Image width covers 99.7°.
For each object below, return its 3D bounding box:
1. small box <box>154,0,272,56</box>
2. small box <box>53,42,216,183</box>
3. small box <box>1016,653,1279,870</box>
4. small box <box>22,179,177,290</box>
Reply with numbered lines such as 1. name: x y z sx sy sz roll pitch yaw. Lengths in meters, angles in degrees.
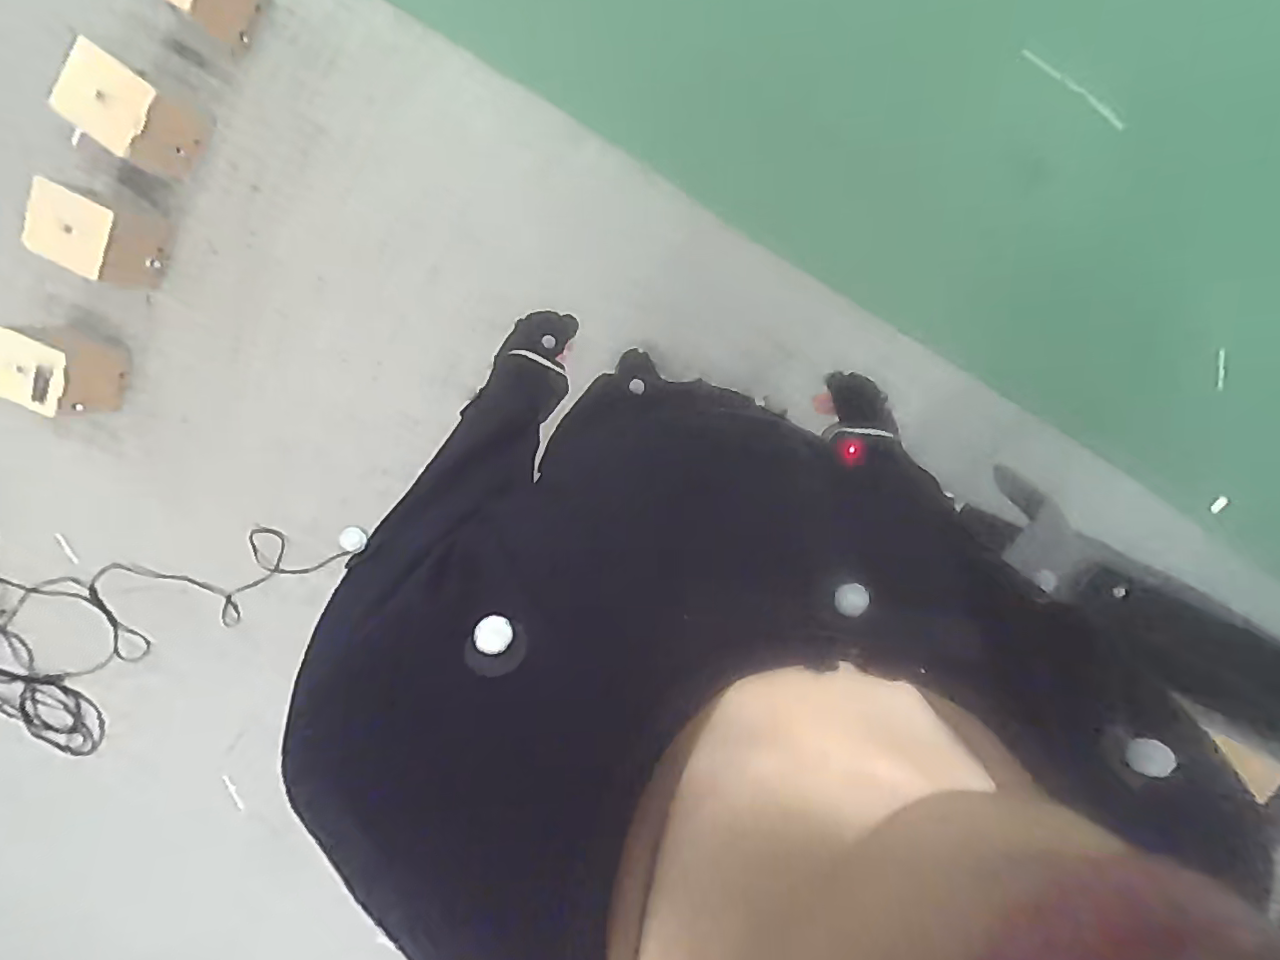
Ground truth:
1. small box: -0.948 -1.070 1.164 0.179 0.176 0.168 31 100 -6
2. small box: -1.126 -0.810 1.219 0.179 0.176 0.168 36 99 -8
3. small box: 0.676 0.366 0.733 0.179 0.176 0.168 27 101 -6
4. small box: -1.259 -0.563 1.270 0.179 0.176 0.168 26 102 -7
